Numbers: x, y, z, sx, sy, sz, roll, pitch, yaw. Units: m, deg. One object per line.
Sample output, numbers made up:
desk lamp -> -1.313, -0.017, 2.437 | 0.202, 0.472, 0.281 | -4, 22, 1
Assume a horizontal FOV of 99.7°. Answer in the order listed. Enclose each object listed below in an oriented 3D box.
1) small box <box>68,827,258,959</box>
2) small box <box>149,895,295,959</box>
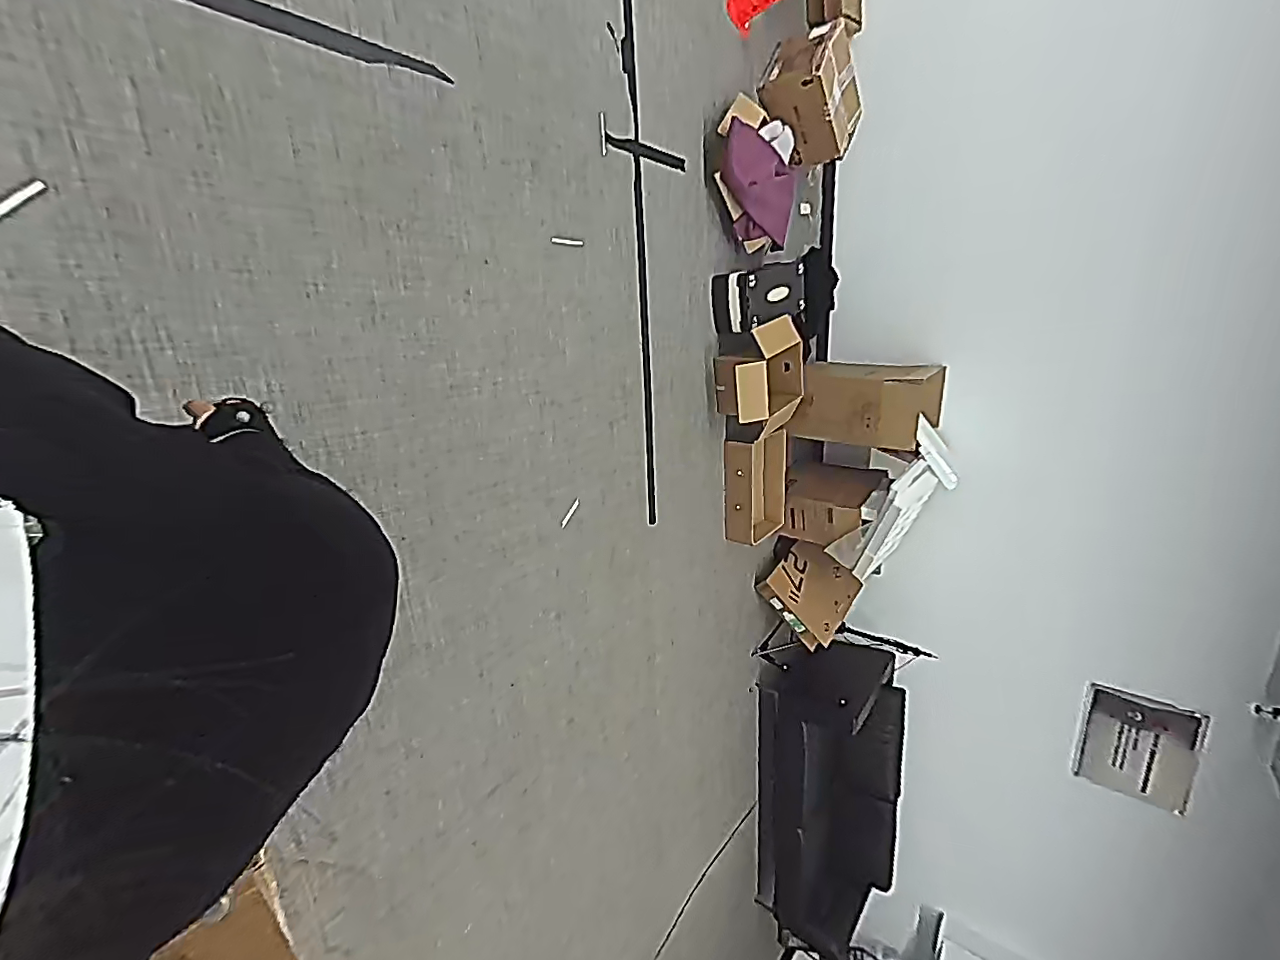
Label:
small box -> -0.610, 0.614, 0.713 | 0.168, 0.176, 0.179 | -20, 111, -48
small box -> -0.485, 0.632, 0.608 | 0.179, 0.176, 0.168 | -19, 112, -47
